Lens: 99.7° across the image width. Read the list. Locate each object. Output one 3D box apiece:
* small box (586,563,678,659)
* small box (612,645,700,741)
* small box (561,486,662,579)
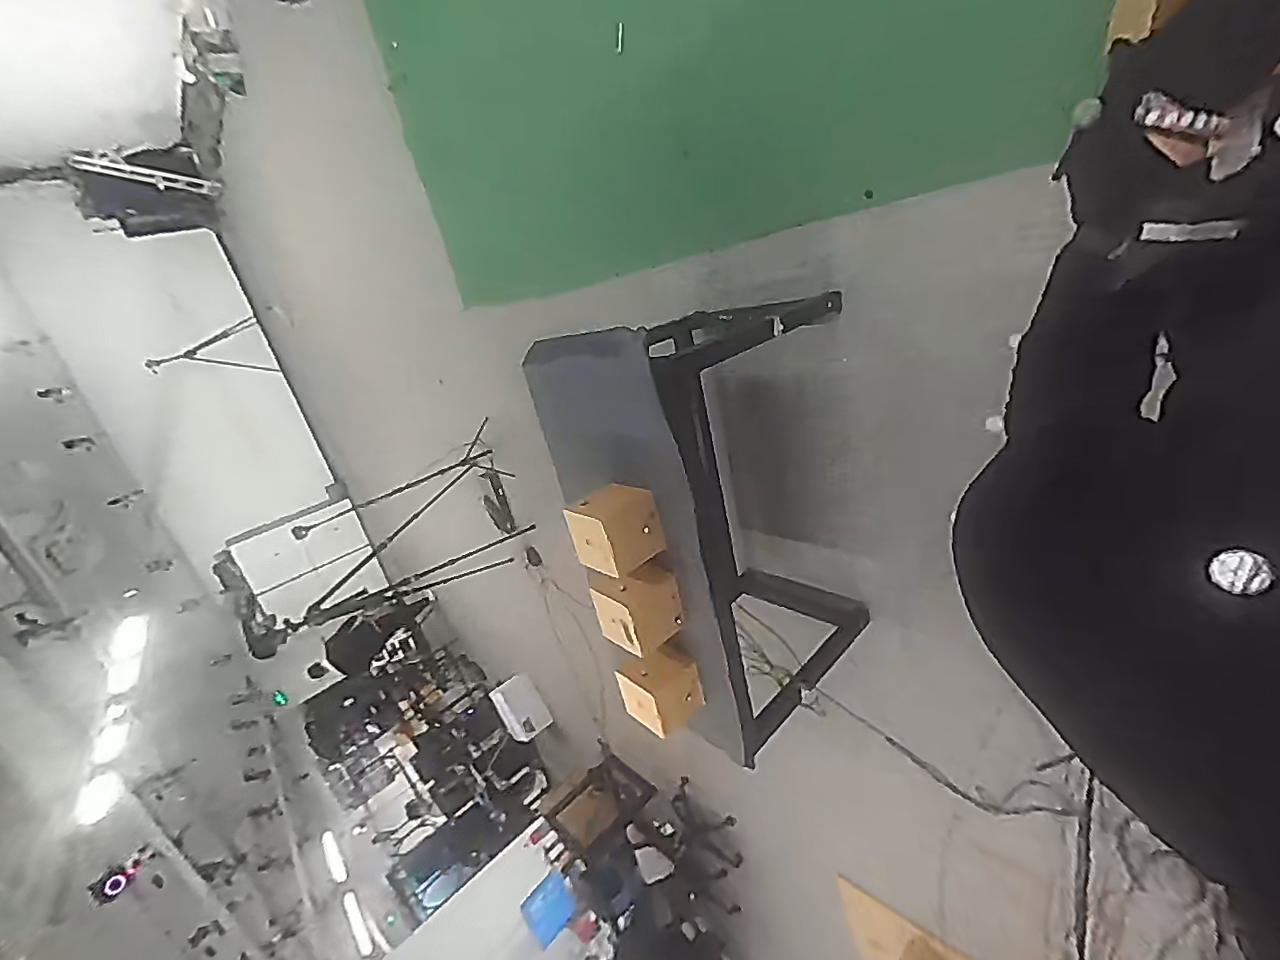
[{"bbox_3d":[-0.014,0.347,1.472,0.179,0.176,0.168,12,123,49],"label":"small box"},{"bbox_3d":[0.049,0.608,1.575,0.179,0.176,0.168,11,121,49],"label":"small box"},{"bbox_3d":[-0.072,0.126,1.389,0.179,0.176,0.168,10,121,49],"label":"small box"}]
